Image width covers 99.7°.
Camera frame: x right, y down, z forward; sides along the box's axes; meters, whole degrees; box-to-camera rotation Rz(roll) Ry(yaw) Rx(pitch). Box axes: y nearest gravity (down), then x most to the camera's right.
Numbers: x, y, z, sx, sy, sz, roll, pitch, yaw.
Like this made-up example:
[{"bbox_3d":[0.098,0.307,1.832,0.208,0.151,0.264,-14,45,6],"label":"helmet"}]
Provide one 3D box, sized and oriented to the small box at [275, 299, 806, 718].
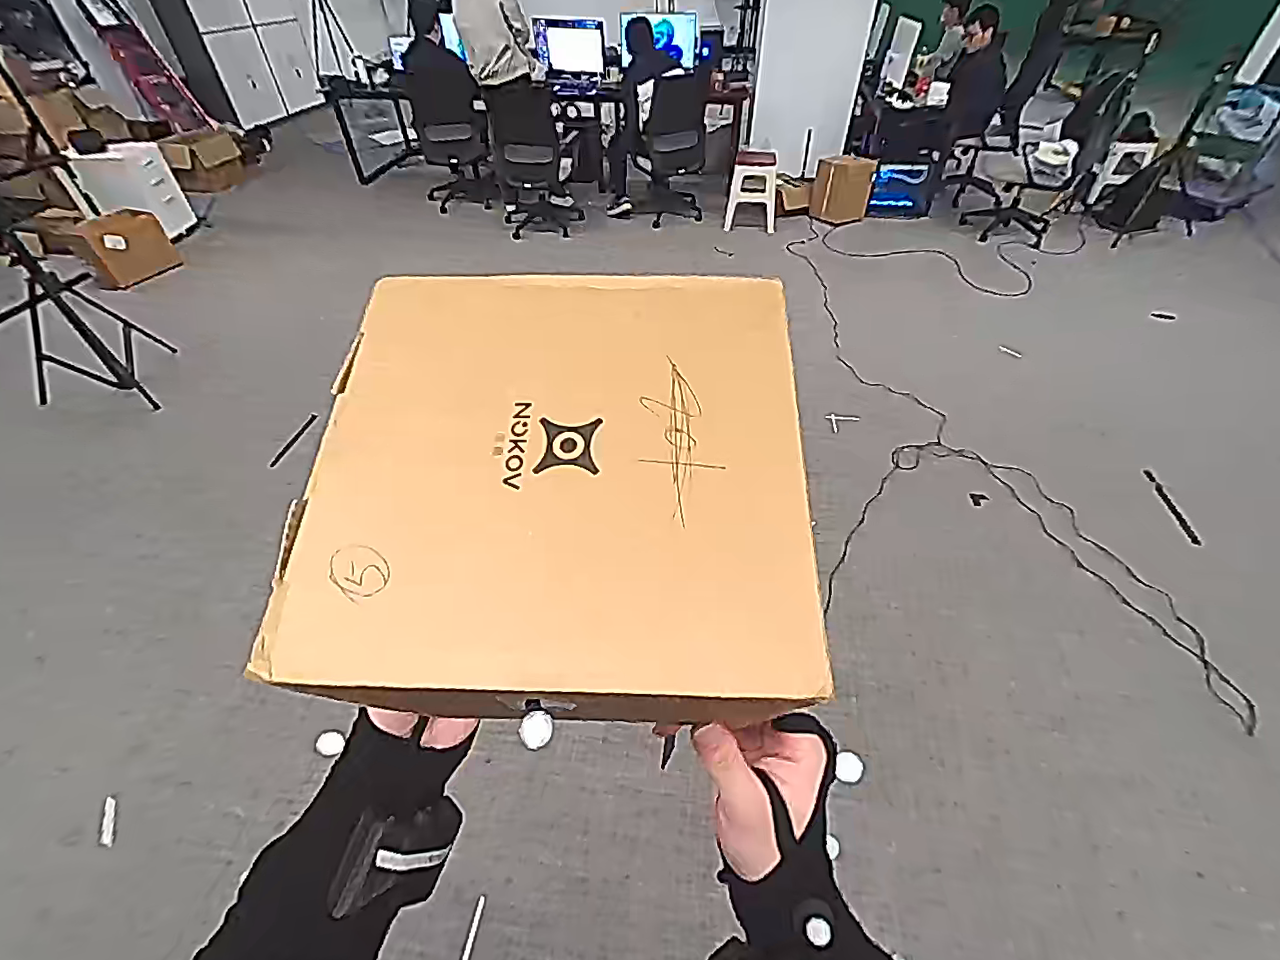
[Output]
[{"bbox_3d":[-0.030,0.029,0.279,0.179,0.176,0.168,0,64,1],"label":"small box"}]
